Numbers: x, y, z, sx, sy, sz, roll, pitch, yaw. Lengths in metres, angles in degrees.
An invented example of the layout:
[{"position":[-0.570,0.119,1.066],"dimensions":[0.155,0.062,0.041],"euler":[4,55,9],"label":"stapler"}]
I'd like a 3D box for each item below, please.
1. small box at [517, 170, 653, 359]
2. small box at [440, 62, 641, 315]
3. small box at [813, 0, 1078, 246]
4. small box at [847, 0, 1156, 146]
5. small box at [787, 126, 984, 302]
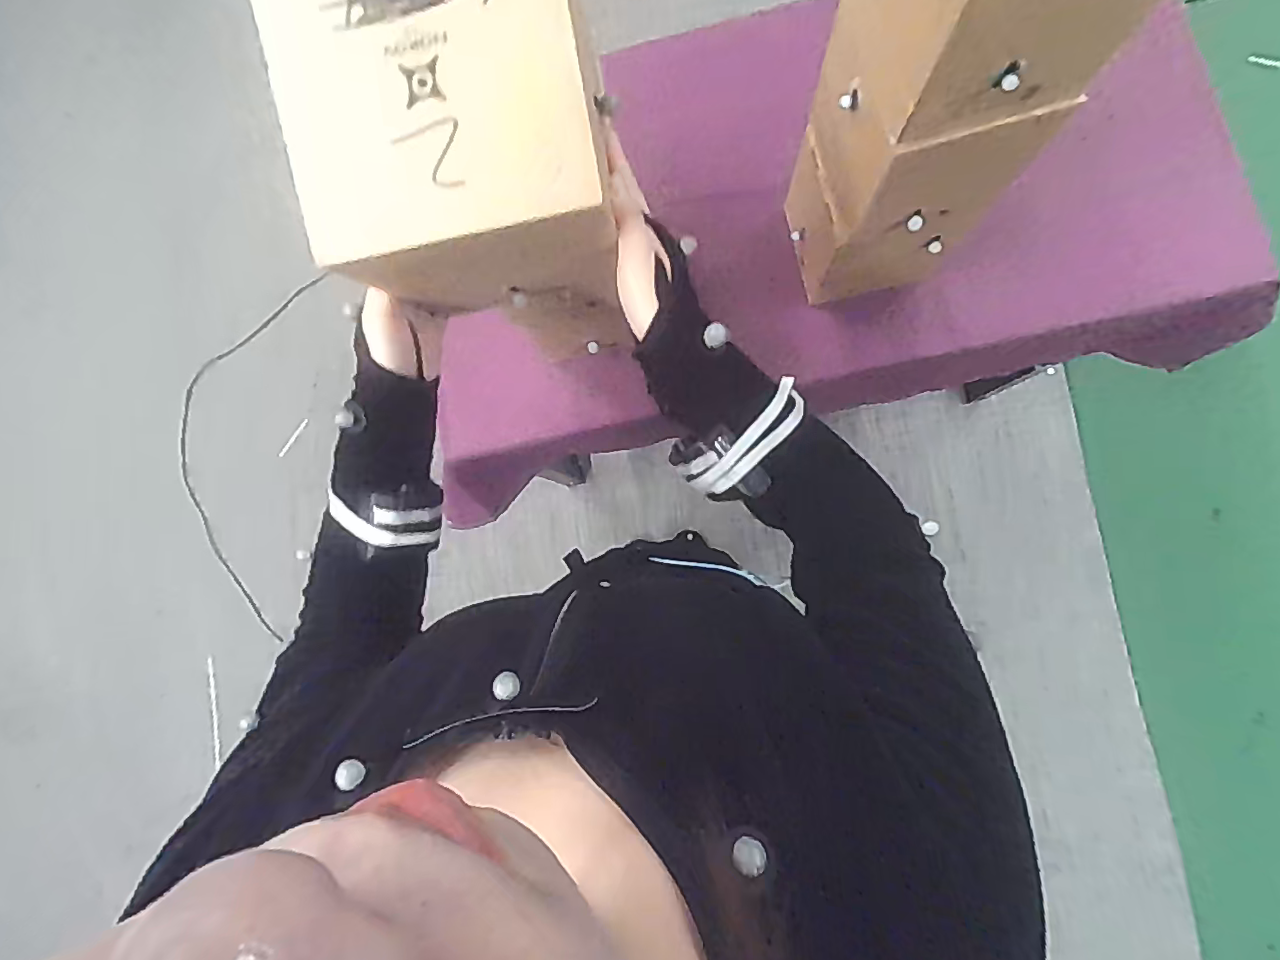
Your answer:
[{"position":[-0.078,-0.290,0.760],"dimensions":[0.168,0.176,0.179],"euler":[-10,84,5],"label":"small box"},{"position":[-0.097,-0.298,0.597],"dimensions":[0.168,0.176,0.179],"euler":[-10,84,4],"label":"small box"},{"position":[0.294,-0.382,0.566],"dimensions":[0.168,0.176,0.179],"euler":[-13,84,5],"label":"small box"},{"position":[0.273,-0.403,0.406],"dimensions":[0.168,0.176,0.179],"euler":[-15,84,5],"label":"small box"},{"position":[0.312,-0.364,0.727],"dimensions":[0.179,0.176,0.168],"euler":[-12,83,5],"label":"small box"}]
